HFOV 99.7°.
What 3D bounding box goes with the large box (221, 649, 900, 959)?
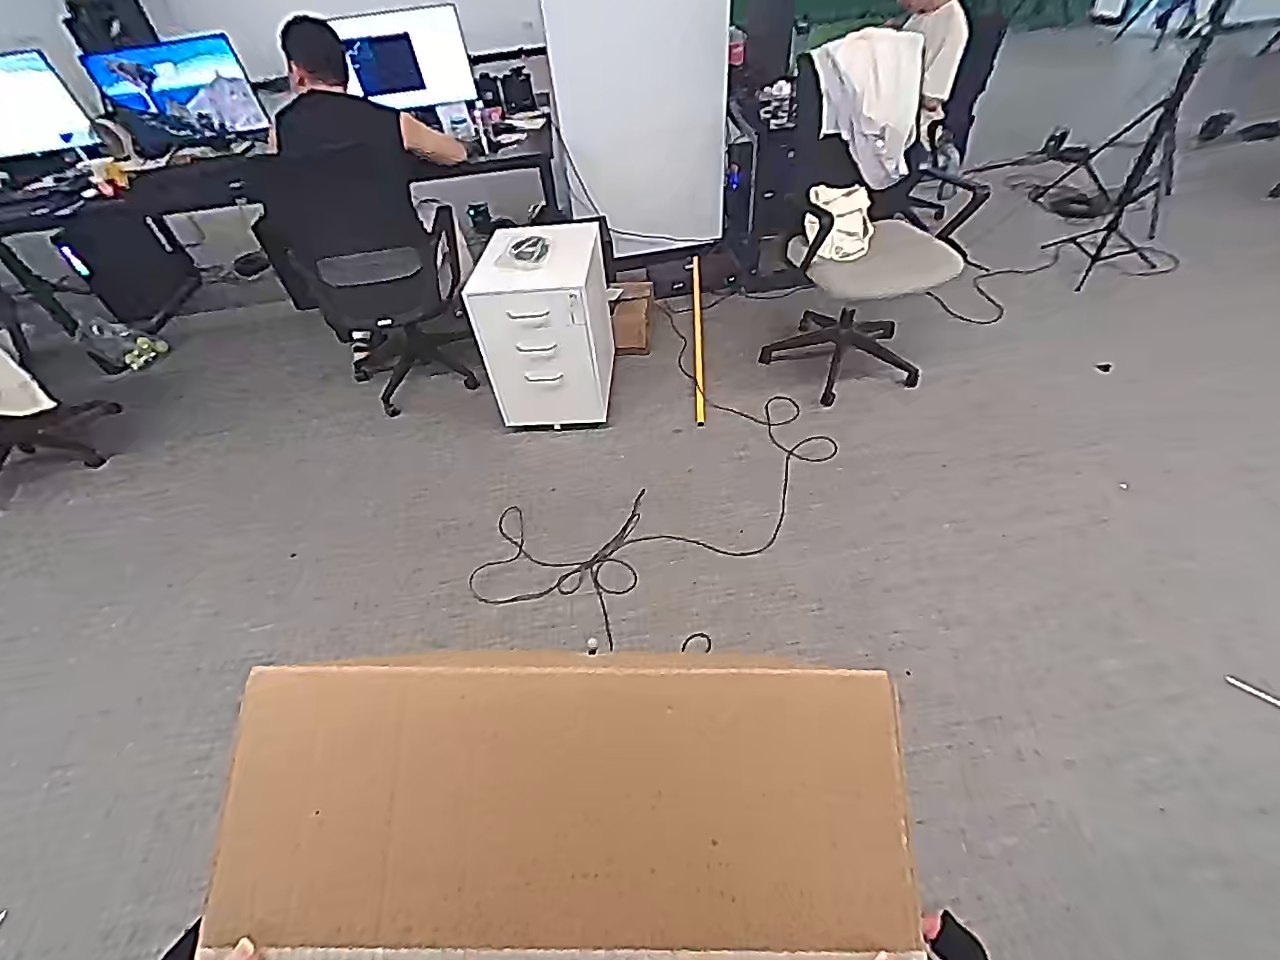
[{"bbox_3d":[-0.044,0.316,0.458,0.408,0.320,0.320,0,75,0],"label":"large box"}]
